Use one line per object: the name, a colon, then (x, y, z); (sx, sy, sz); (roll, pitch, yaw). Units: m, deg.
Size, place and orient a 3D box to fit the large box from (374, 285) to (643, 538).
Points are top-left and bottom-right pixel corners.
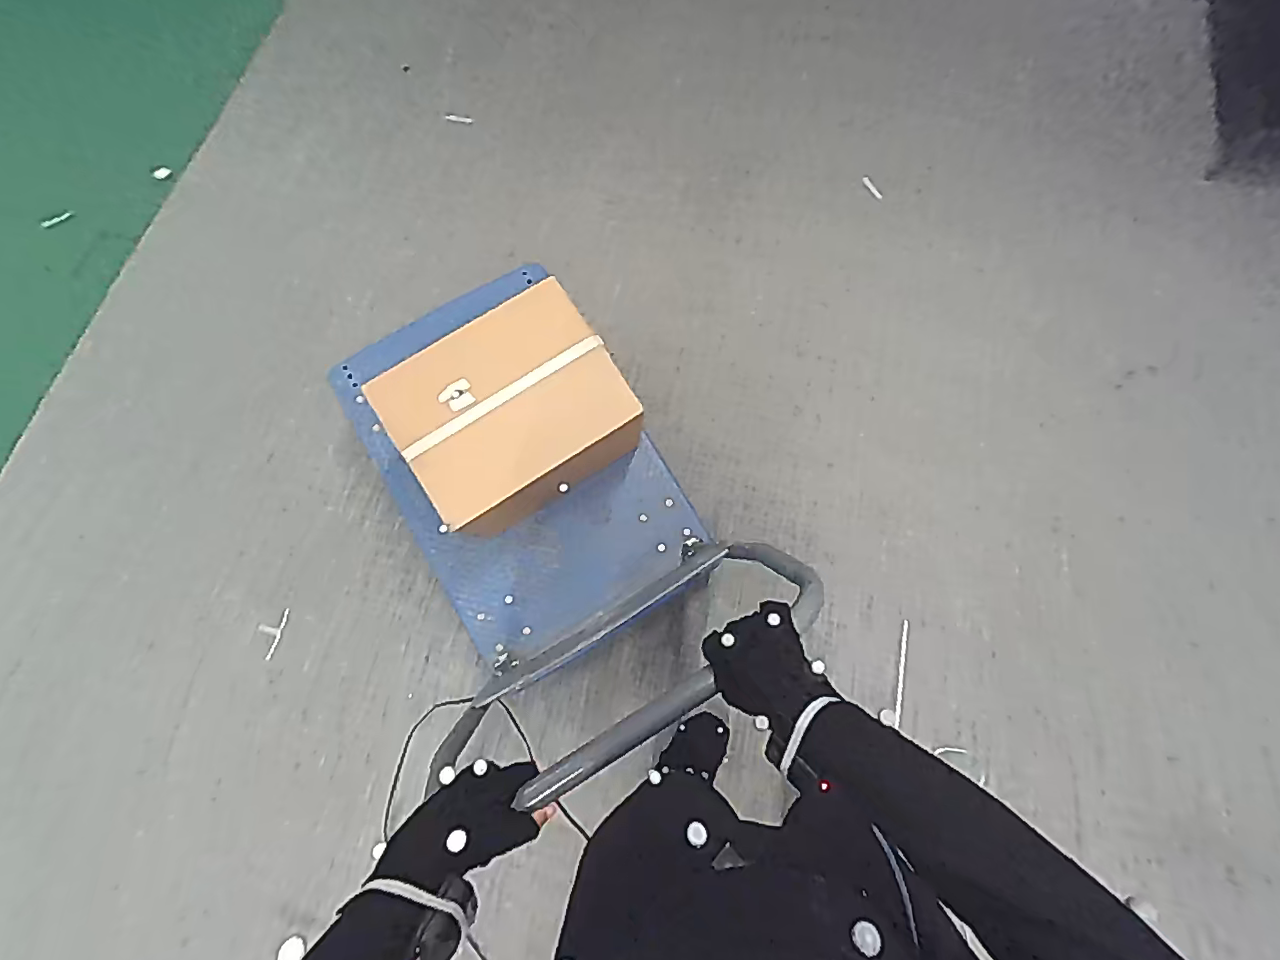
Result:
large box: (-0.243, -0.117, 1.132); (0.408, 0.320, 0.320); (-35, 84, -6)
